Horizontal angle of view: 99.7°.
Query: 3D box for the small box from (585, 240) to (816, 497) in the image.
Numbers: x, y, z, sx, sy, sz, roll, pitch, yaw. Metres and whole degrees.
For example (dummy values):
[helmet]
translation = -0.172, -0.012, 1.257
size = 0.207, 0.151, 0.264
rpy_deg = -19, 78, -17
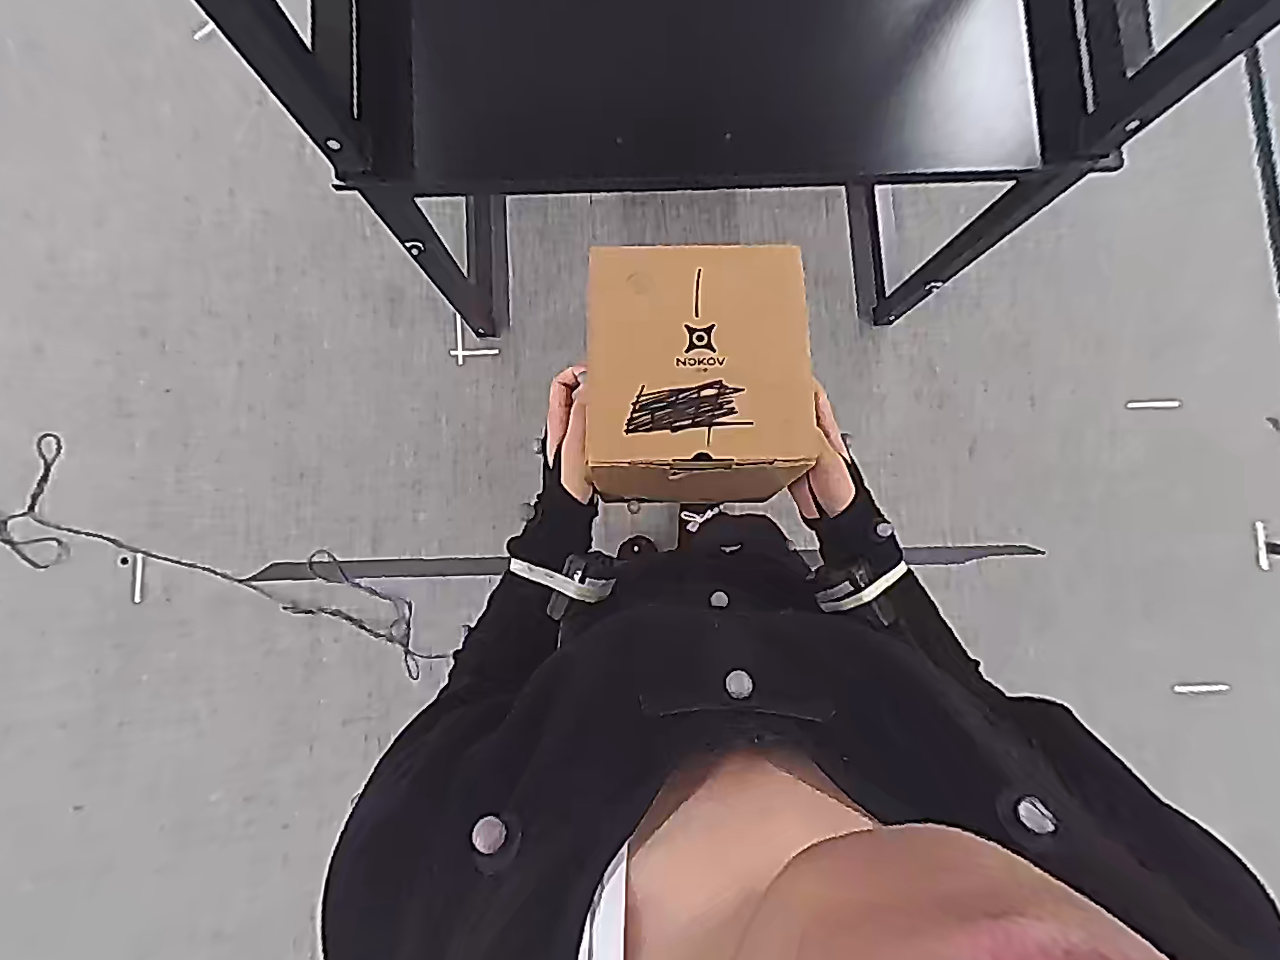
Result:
[small box]
translation = 0.044, -0.081, 0.474
size = 0.168, 0.176, 0.179
rpy_deg = 0, 77, 0
